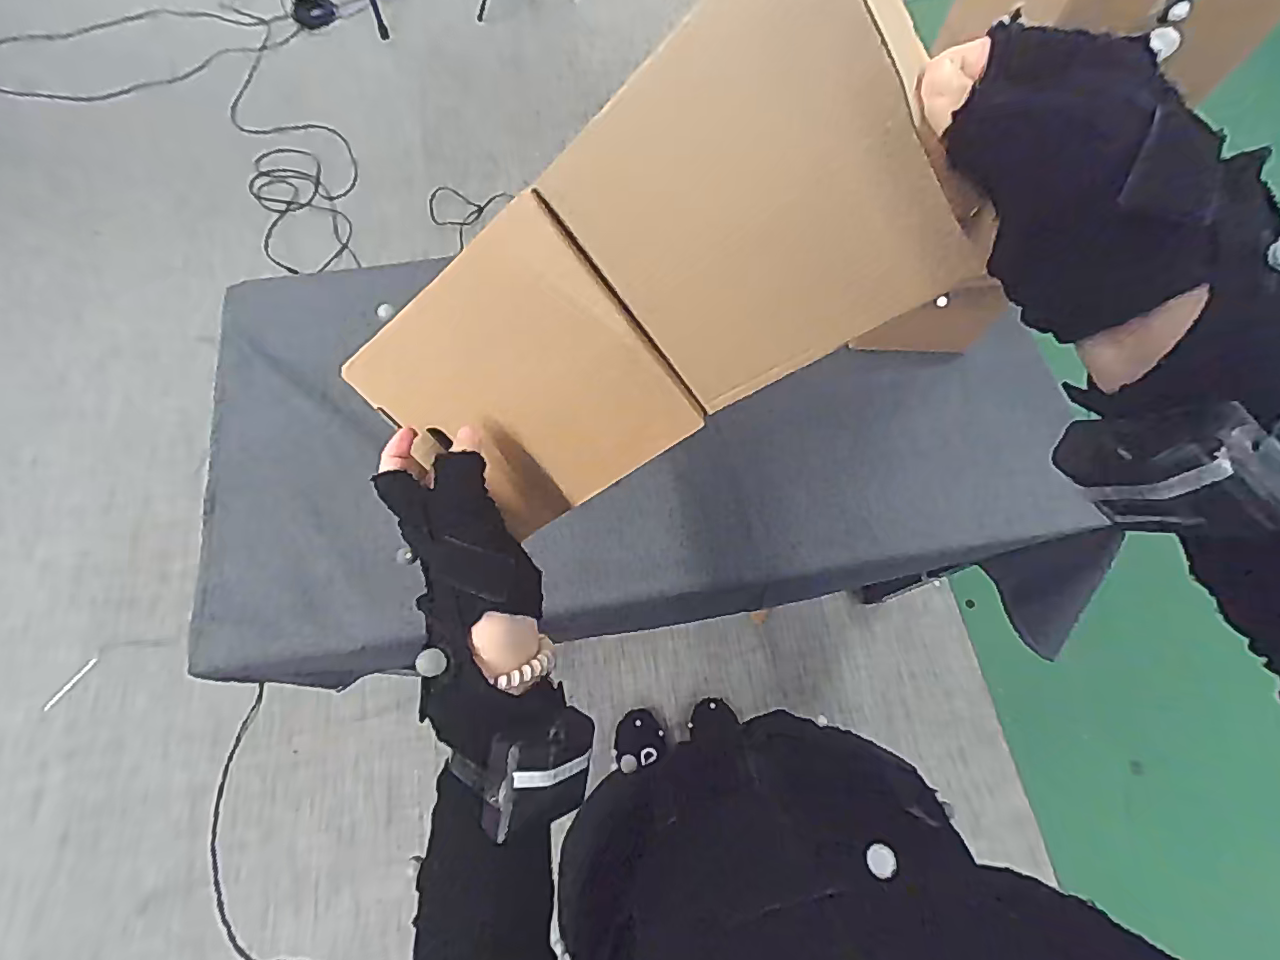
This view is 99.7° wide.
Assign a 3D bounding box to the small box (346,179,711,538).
[{"bbox_3d":[-0.068,-0.095,0.413,0.179,0.176,0.168,-34,109,17],"label":"small box"}]

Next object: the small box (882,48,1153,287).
[{"bbox_3d":[0.397,-0.346,0.611,0.168,0.176,0.179,-3,69,0],"label":"small box"}]

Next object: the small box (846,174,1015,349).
[{"bbox_3d":[0.405,-0.303,0.770,0.179,0.176,0.168,3,69,1],"label":"small box"}]

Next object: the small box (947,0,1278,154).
[{"bbox_3d":[0.392,-0.407,0.460,0.179,0.176,0.168,-1,69,0],"label":"small box"}]
